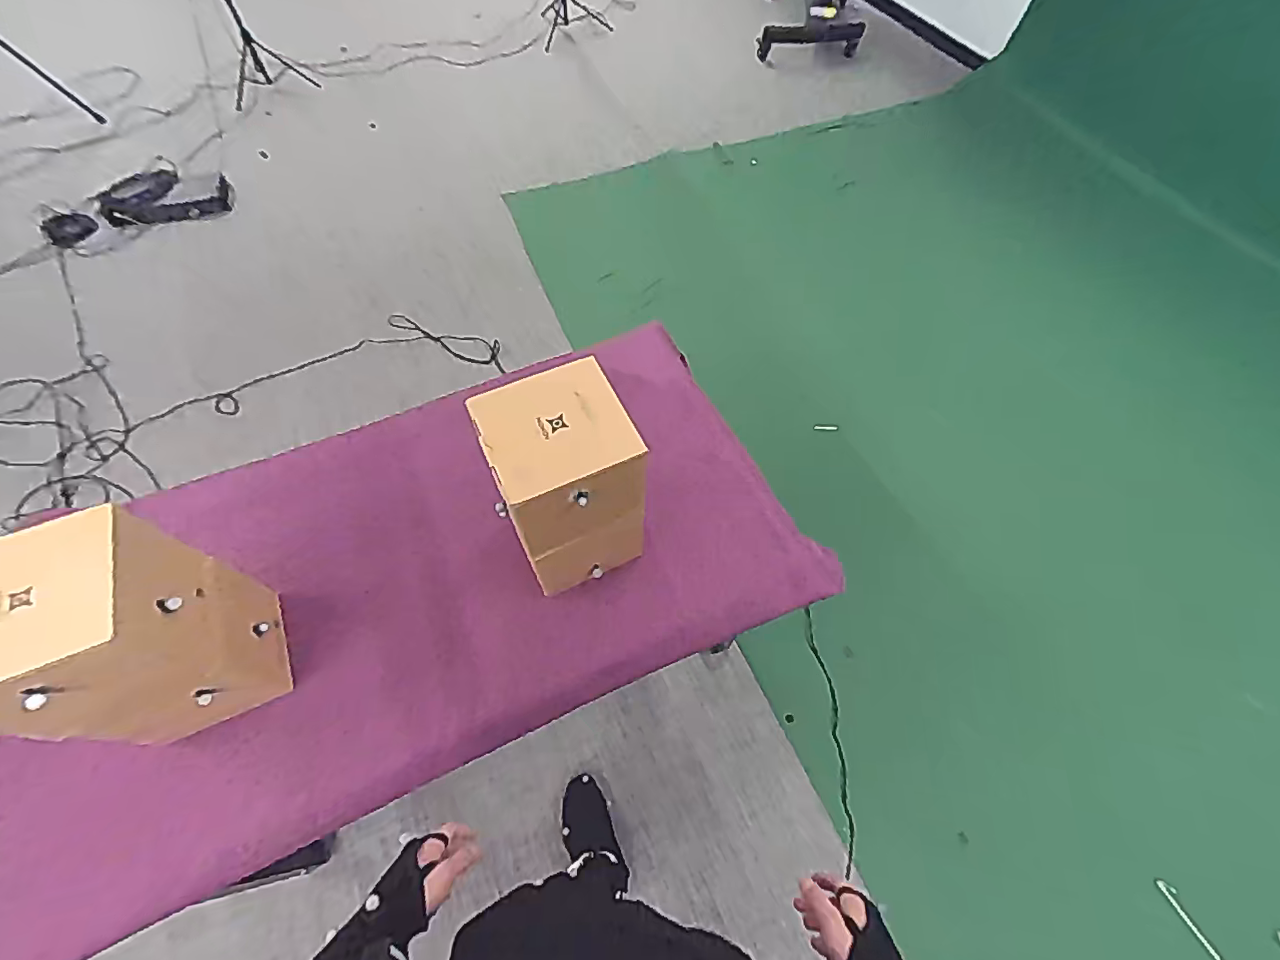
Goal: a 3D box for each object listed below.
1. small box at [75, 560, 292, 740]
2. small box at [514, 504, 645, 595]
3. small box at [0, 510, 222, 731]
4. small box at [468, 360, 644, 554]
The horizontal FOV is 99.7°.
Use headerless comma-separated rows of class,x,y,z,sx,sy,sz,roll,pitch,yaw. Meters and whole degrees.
small box,-0.618,0.242,0.756,0.179,0.176,0.168,-22,63,-13
small box,-0.107,0.059,0.869,0.179,0.176,0.168,-23,63,-14
small box,-0.614,0.164,0.613,0.179,0.176,0.168,-22,64,-13
small box,-0.104,-0.024,0.727,0.179,0.176,0.168,-22,64,-12
